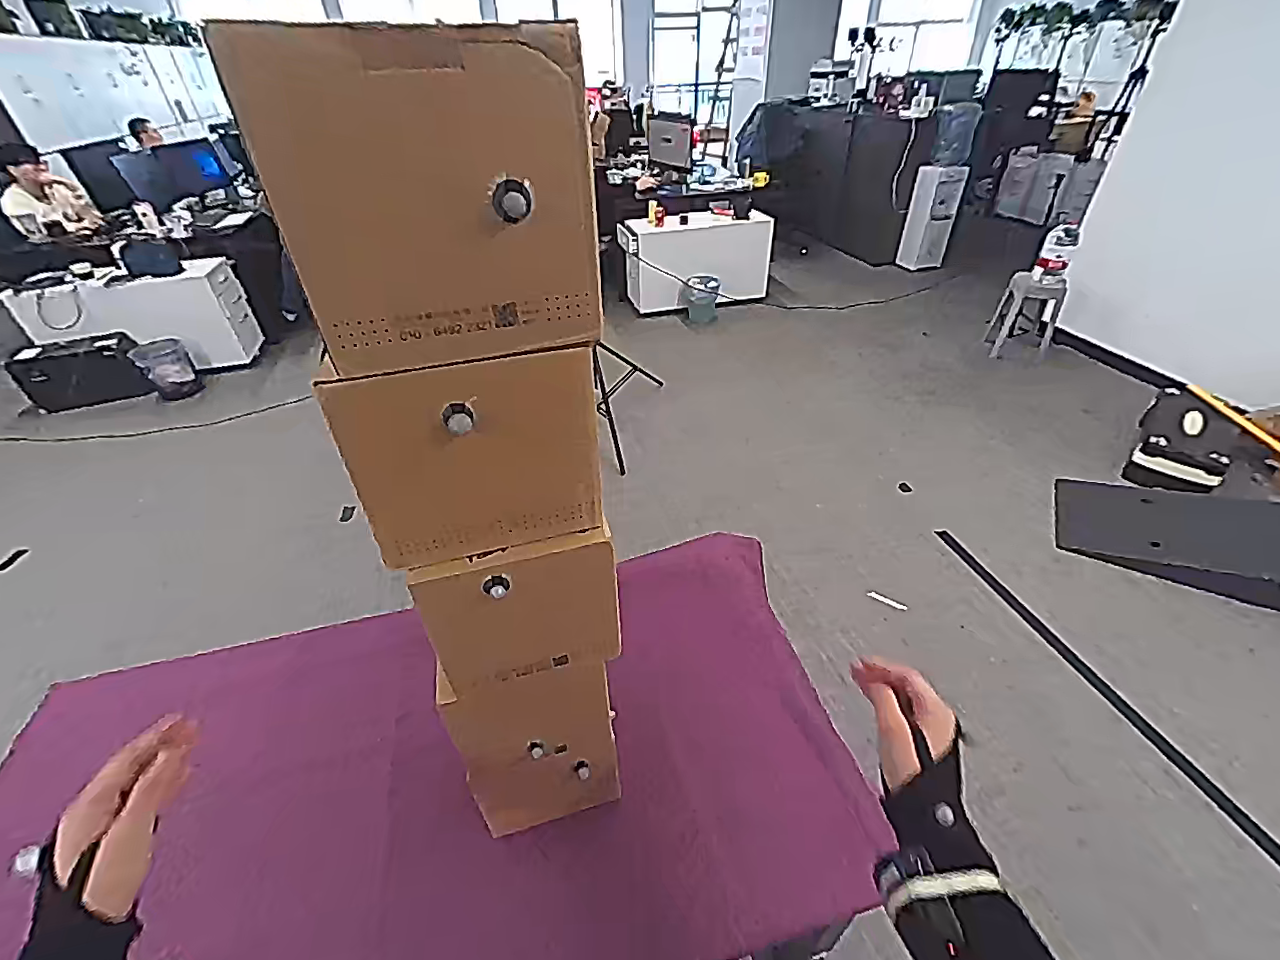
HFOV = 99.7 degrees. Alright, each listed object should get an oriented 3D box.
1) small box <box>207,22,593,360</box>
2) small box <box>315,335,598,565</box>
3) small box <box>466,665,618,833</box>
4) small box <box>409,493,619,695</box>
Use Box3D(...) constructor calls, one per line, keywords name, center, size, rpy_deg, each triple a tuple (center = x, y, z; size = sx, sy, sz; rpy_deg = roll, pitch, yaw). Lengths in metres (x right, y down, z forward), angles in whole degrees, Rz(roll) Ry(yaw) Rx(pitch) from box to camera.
Box3D(name="small box", center=(-0.133, -0.188, 0.359), size=(0.168, 0.176, 0.179), rpy_deg=(-12, 38, -14))
Box3D(name="small box", center=(-0.136, -0.055, 0.454), size=(0.179, 0.176, 0.168), rpy_deg=(-12, 39, -12))
Box3D(name="small box", center=(-0.131, 0.342, 0.740), size=(0.179, 0.176, 0.168), rpy_deg=(-12, 38, -11))
Box3D(name="small box", center=(-0.121, 0.079, 0.545), size=(0.168, 0.176, 0.179), rpy_deg=(-12, 38, -12))
